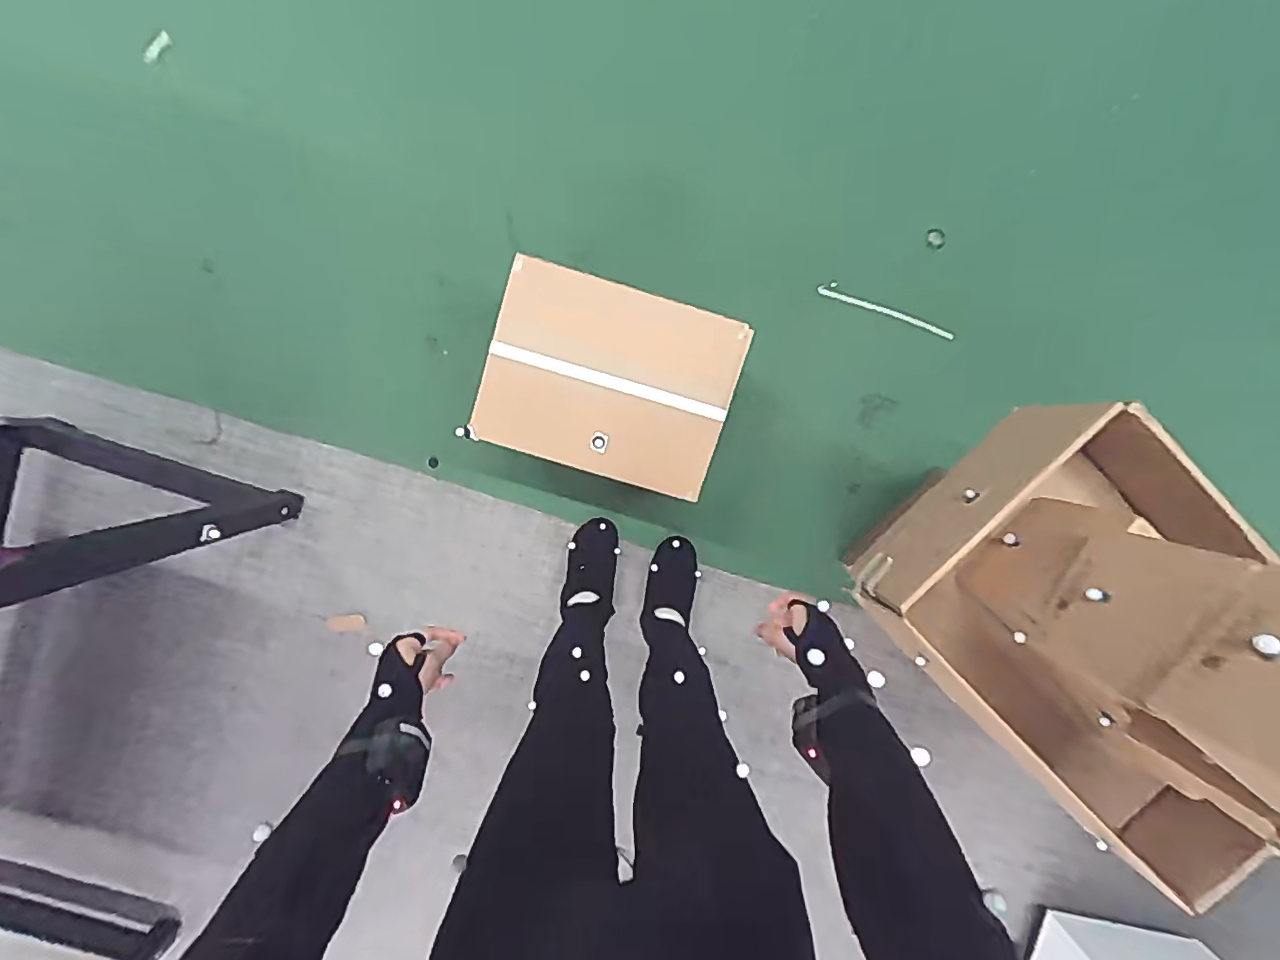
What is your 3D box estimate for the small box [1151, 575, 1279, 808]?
[{"bbox_3d":[0.570,0.195,0.406,0.179,0.176,0.168,38,94,-3],"label":"small box"}]
